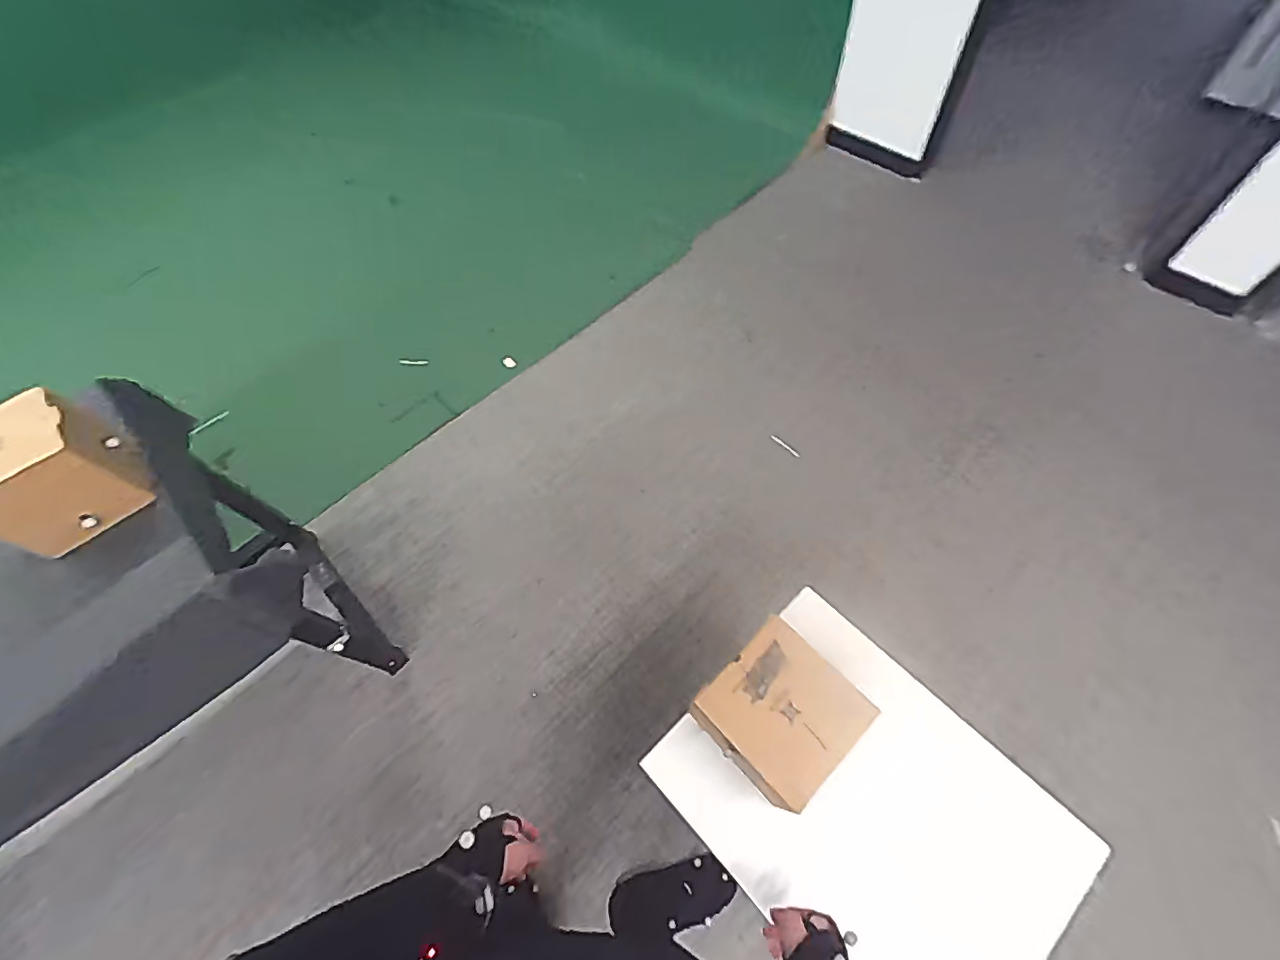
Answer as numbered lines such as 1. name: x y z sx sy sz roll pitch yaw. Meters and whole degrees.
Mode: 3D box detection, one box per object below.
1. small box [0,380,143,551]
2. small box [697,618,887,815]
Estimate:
1. small box: -0.955 -0.018 0.866 0.179 0.176 0.168 -37 66 -16
2. small box: 0.194 0.327 0.752 0.168 0.176 0.179 -40 68 -17
